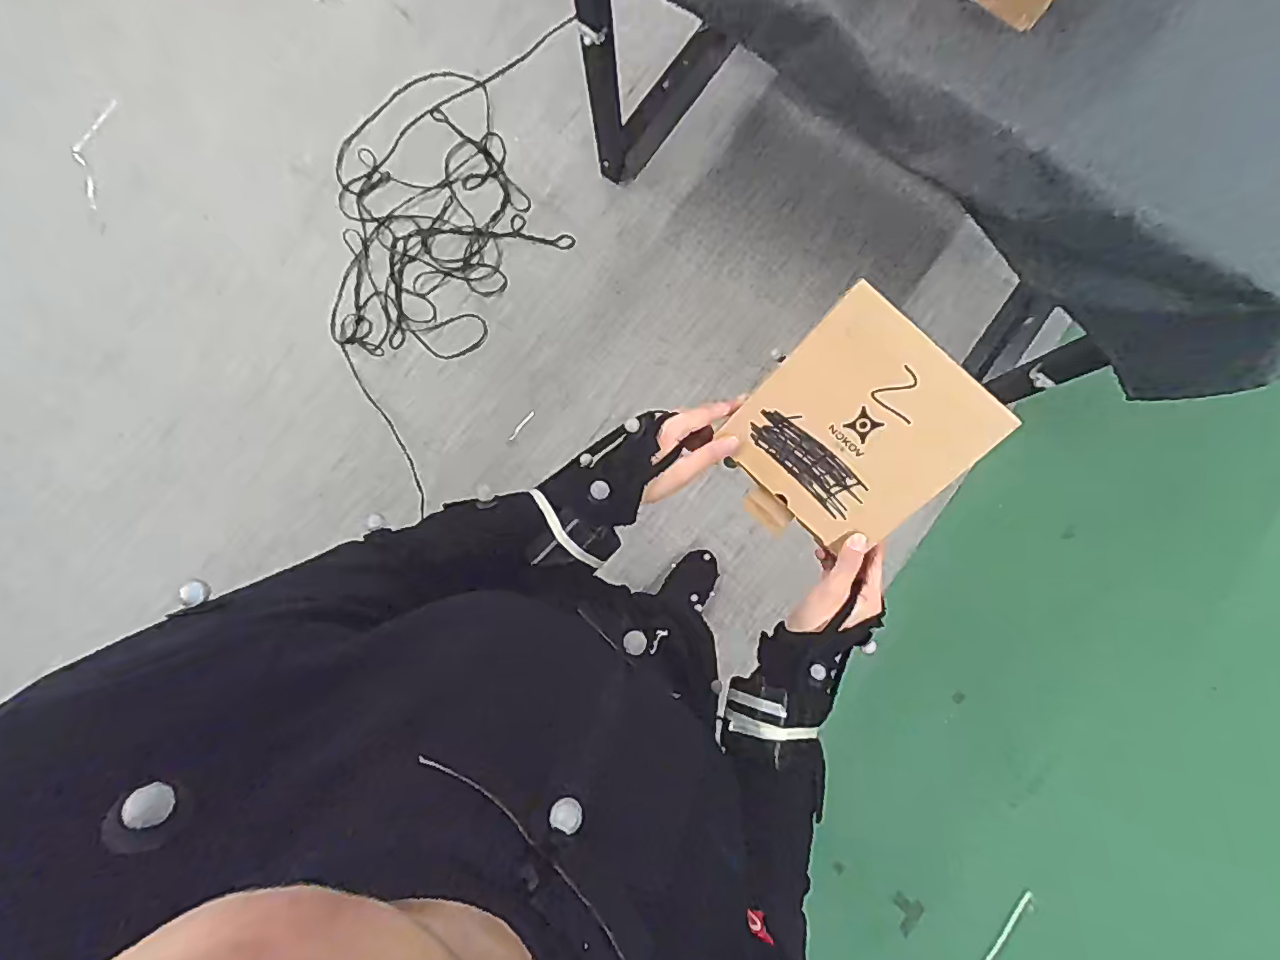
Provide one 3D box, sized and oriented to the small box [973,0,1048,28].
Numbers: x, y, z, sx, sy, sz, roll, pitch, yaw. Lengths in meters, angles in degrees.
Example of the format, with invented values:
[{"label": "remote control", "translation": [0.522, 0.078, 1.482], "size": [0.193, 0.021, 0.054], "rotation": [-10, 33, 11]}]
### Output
[{"label": "small box", "translation": [0.492, -0.713, 0.643], "size": [0.168, 0.176, 0.179], "rotation": [38, 87, 5]}]
